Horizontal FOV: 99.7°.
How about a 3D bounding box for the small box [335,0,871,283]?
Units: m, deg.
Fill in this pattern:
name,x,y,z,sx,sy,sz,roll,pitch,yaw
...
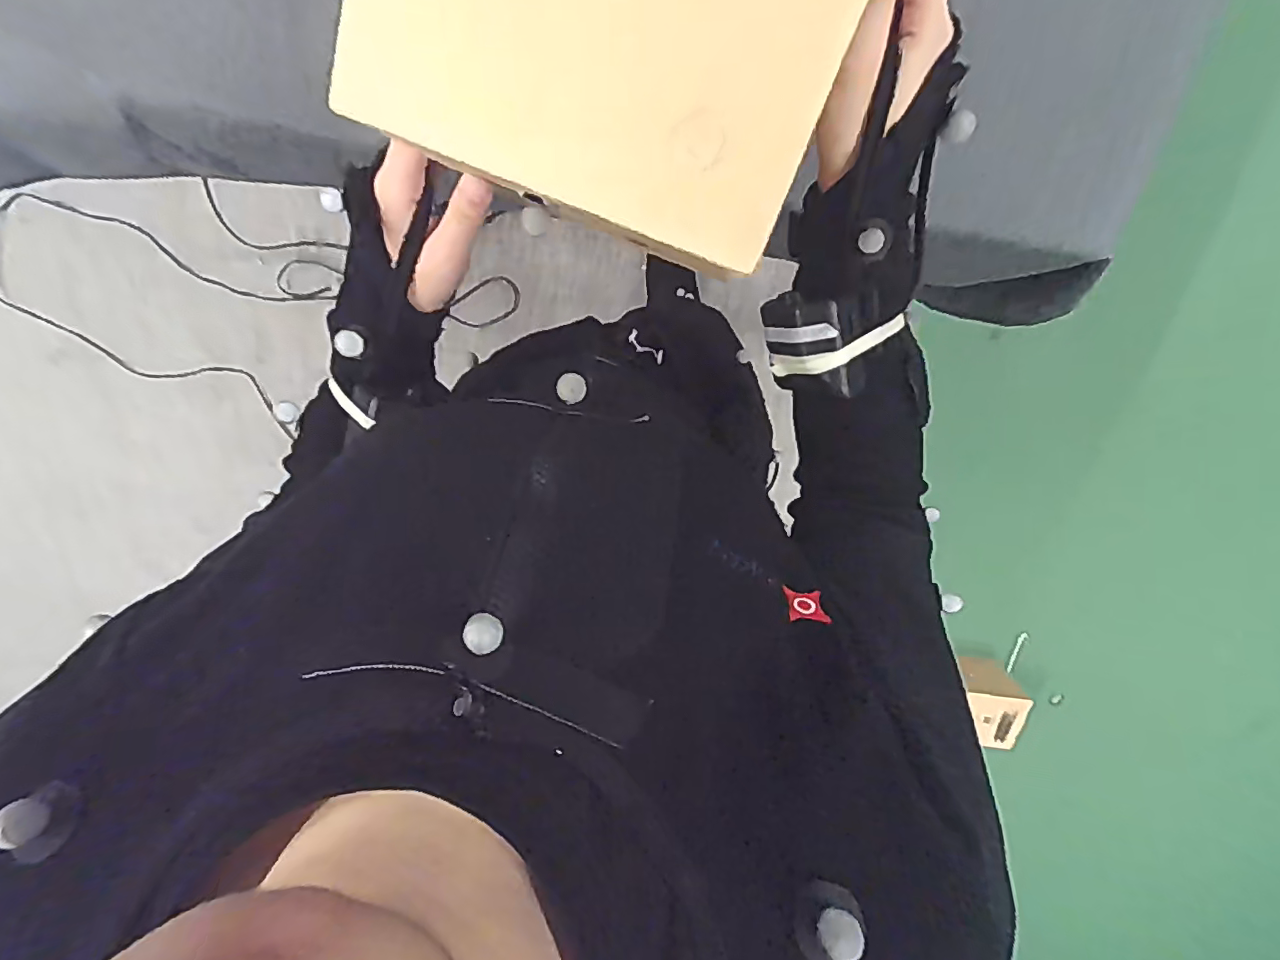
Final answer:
name,x,y,z,sx,sy,sz,roll,pitch,yaw
small box,0.004,-0.200,0.240,0.168,0.176,0.179,21,109,-1
